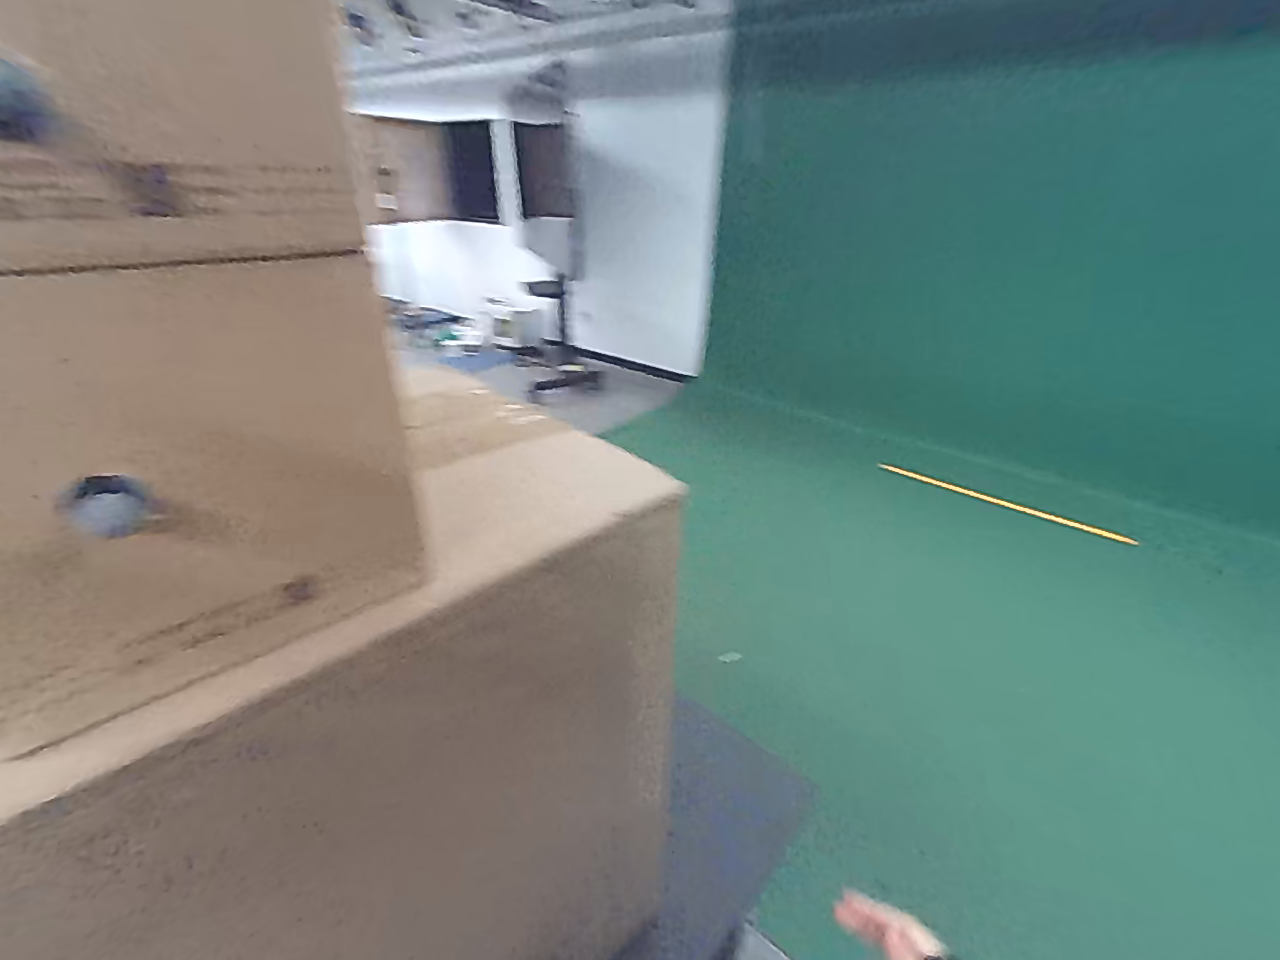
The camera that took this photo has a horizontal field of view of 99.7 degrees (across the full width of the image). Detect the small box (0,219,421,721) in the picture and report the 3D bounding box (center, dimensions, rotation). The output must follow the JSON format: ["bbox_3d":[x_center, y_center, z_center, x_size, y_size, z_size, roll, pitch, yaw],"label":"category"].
[{"bbox_3d":[-0.226,-0.019,0.258,0.168,0.176,0.179,-23,40,-37],"label":"small box"}]
